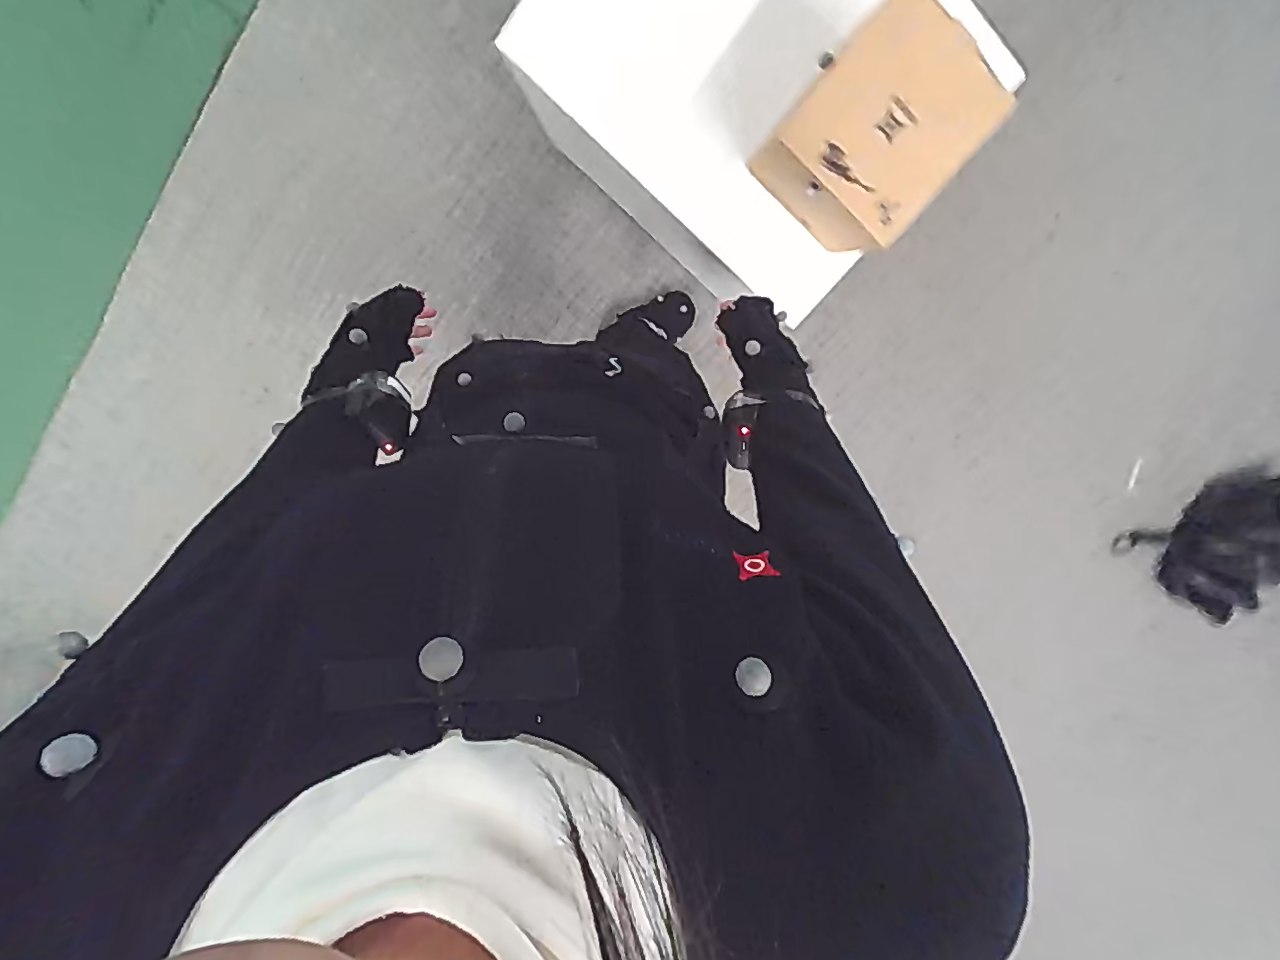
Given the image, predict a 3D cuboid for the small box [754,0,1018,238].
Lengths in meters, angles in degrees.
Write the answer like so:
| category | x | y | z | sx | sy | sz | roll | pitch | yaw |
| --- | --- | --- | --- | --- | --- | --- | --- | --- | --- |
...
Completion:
| category | x | y | z | sx | sy | sz | roll | pitch | yaw |
| --- | --- | --- | --- | --- | --- | --- | --- | --- | --- |
| small box | 0.253 | -0.398 | 0.603 | 0.168 | 0.176 | 0.179 | 38 | 107 | -14 |
